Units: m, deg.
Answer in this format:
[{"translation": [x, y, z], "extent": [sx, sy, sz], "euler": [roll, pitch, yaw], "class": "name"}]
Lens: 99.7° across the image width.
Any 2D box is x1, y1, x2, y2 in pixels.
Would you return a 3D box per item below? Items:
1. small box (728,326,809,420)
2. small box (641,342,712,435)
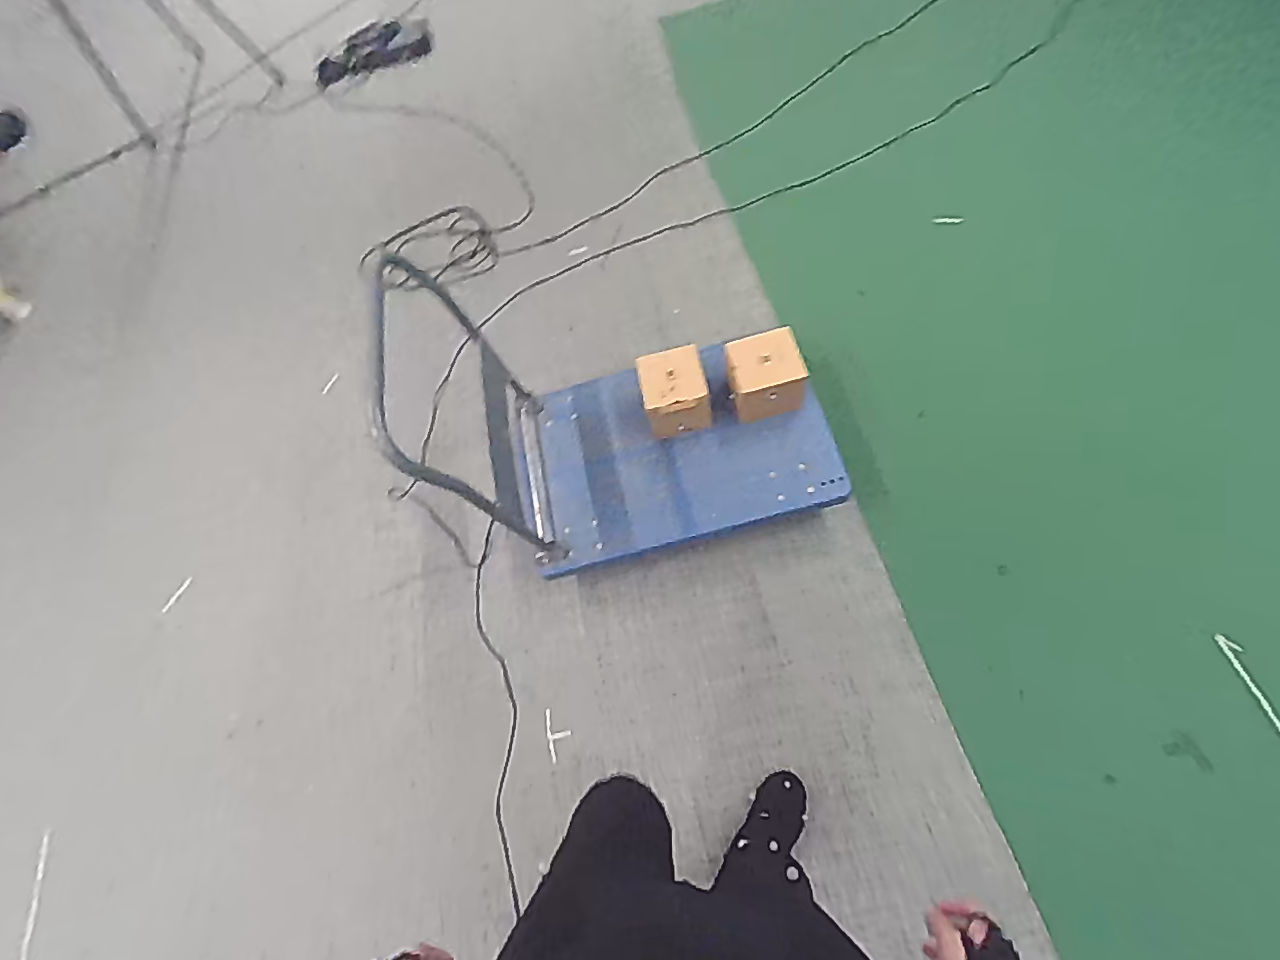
[{"translation": [0.345, -0.284, 1.470], "extent": [0.179, 0.176, 0.168], "euler": [-13, 66, 5], "class": "small box"}, {"translation": [0.103, -0.250, 1.499], "extent": [0.168, 0.176, 0.179], "euler": [-12, 65, 6], "class": "small box"}]
